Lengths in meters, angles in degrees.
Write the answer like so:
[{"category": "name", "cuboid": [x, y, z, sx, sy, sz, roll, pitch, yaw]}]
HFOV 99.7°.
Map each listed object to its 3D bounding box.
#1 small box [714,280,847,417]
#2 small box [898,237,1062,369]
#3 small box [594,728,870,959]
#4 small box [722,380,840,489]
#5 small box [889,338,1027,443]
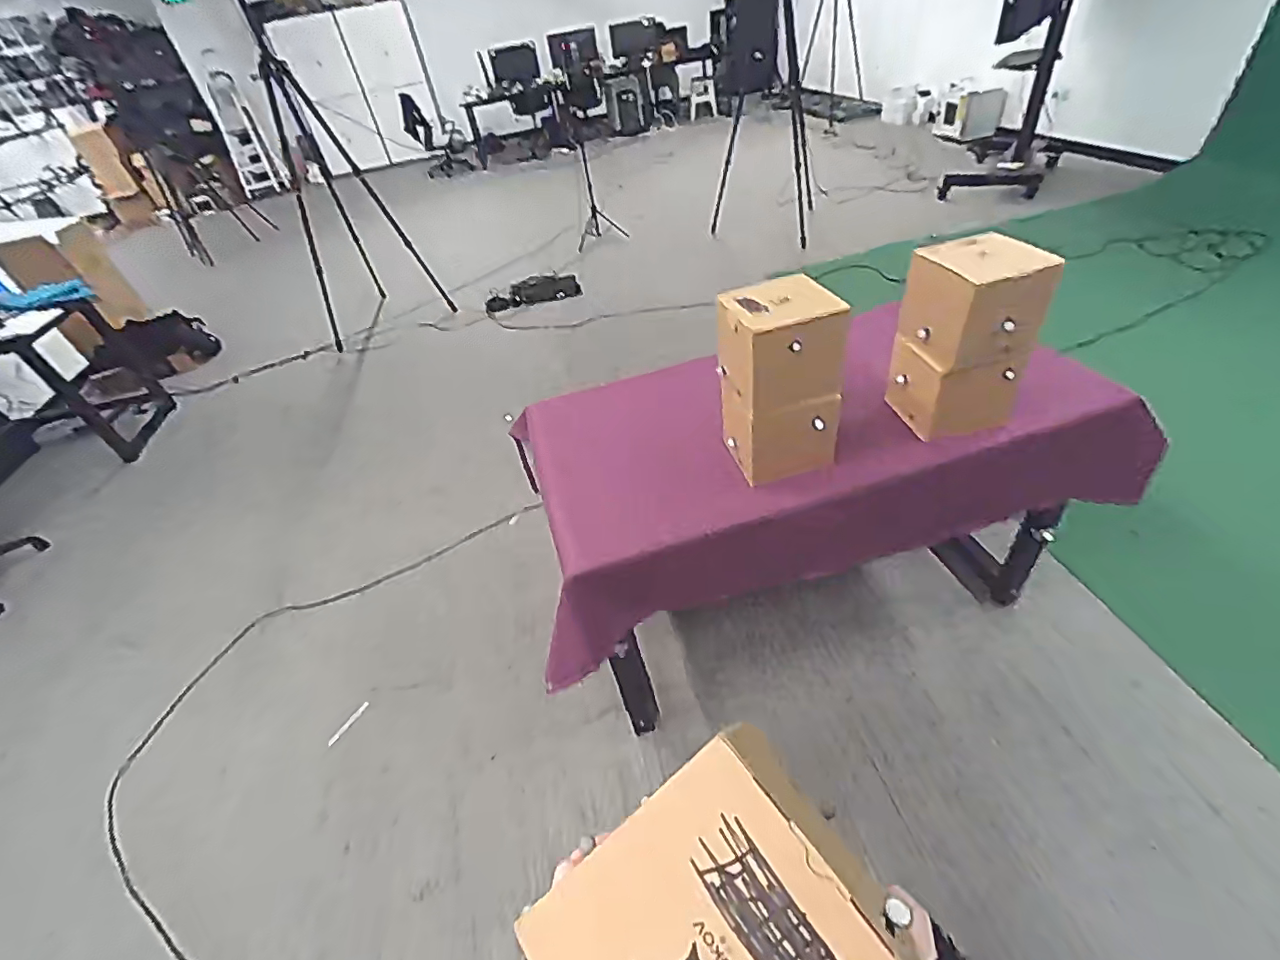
[{"category": "small box", "cuboid": [0.247, -0.235, 0.977, 0.179, 0.176, 0.168, -16, 41, -7]}, {"category": "small box", "cuboid": [0.606, -0.318, 0.992, 0.168, 0.176, 0.179, -14, 42, -4]}, {"category": "small box", "cuboid": [0.090, 0.365, 0.520, 0.179, 0.176, 0.168, -38, 63, -2]}, {"category": "small box", "cuboid": [0.273, -0.109, 1.080, 0.179, 0.176, 0.168, -14, 40, -4]}, {"category": "small box", "cuboid": [0.628, -0.195, 1.099, 0.179, 0.176, 0.168, -12, 41, -1]}]
